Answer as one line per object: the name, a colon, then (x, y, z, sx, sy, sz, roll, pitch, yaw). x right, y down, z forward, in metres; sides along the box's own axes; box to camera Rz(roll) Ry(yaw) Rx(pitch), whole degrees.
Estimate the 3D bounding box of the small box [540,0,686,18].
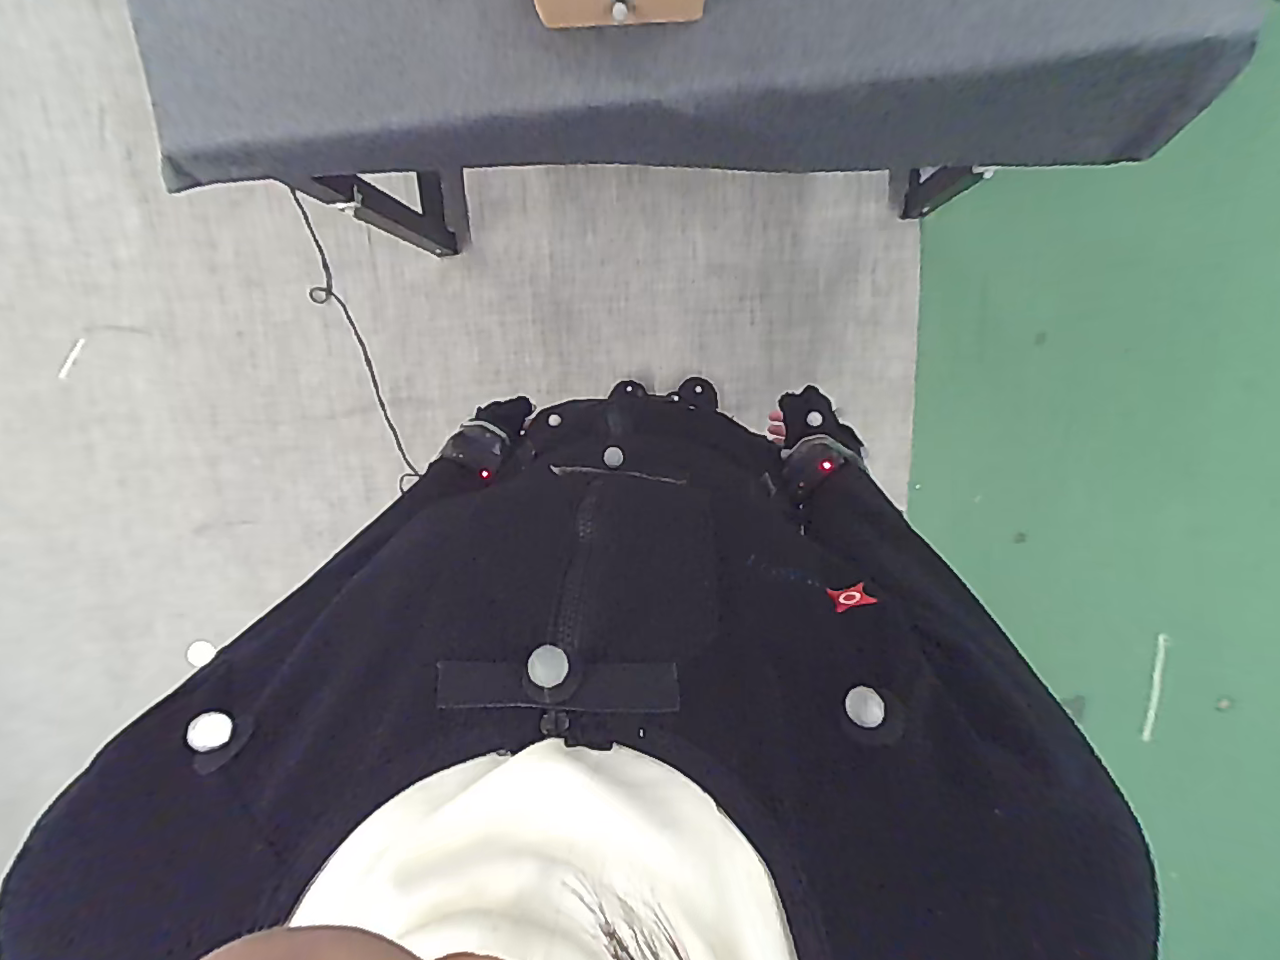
small box: (-0.025, -0.571, 0.498, 0.179, 0.176, 0.168, 0, 101, 3)
